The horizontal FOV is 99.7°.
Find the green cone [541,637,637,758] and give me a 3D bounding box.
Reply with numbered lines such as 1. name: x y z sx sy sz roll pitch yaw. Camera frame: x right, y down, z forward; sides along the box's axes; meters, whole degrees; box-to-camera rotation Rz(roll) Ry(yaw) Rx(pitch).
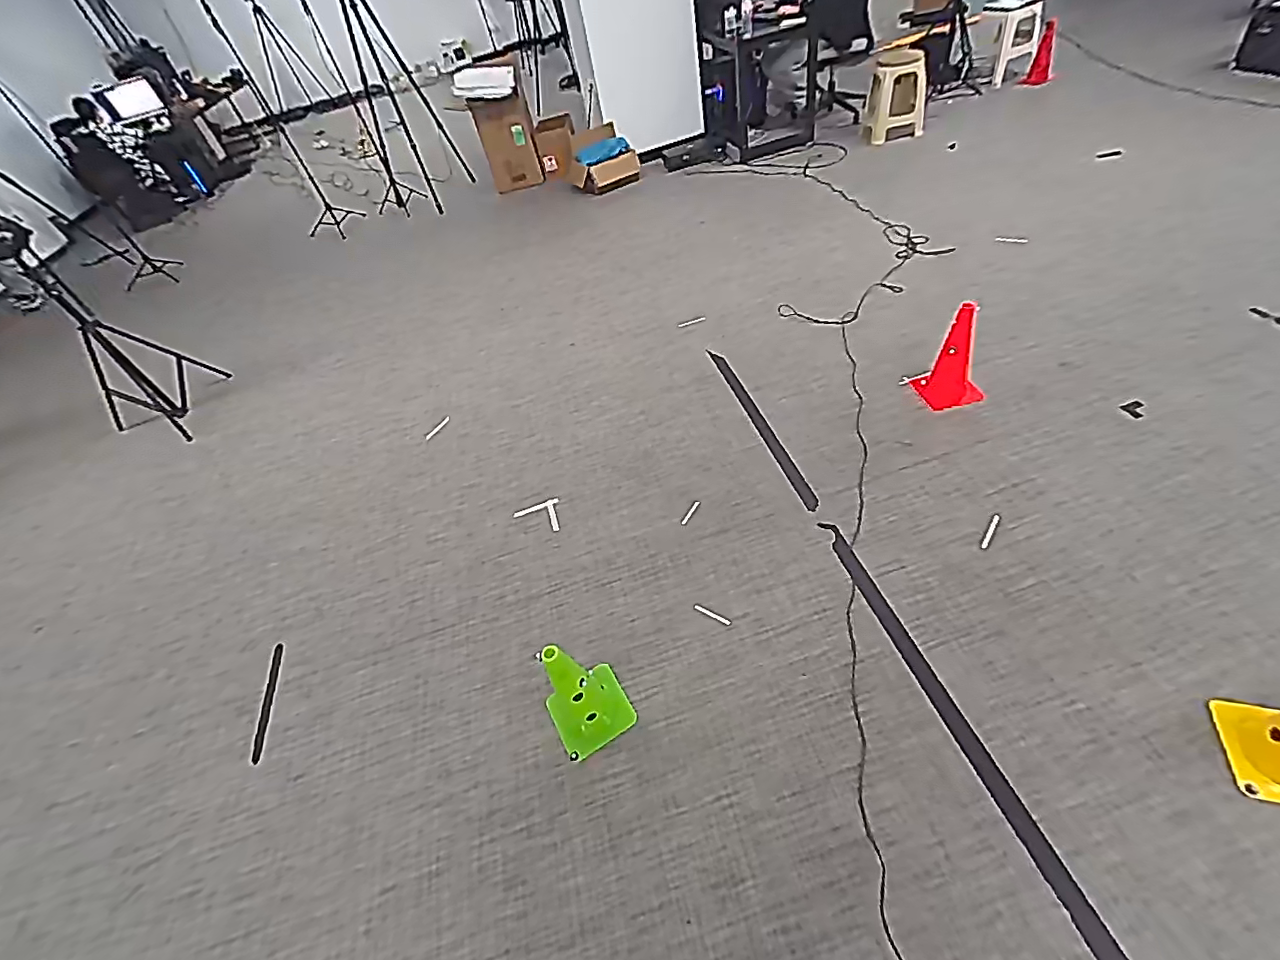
1. green cone: -0.164 0.497 1.340 0.200 0.368 0.202 -29 46 -14

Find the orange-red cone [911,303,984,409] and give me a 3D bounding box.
1. orange-red cone: 1.114 -0.454 1.899 0.198 0.360 0.199 -13 47 3
